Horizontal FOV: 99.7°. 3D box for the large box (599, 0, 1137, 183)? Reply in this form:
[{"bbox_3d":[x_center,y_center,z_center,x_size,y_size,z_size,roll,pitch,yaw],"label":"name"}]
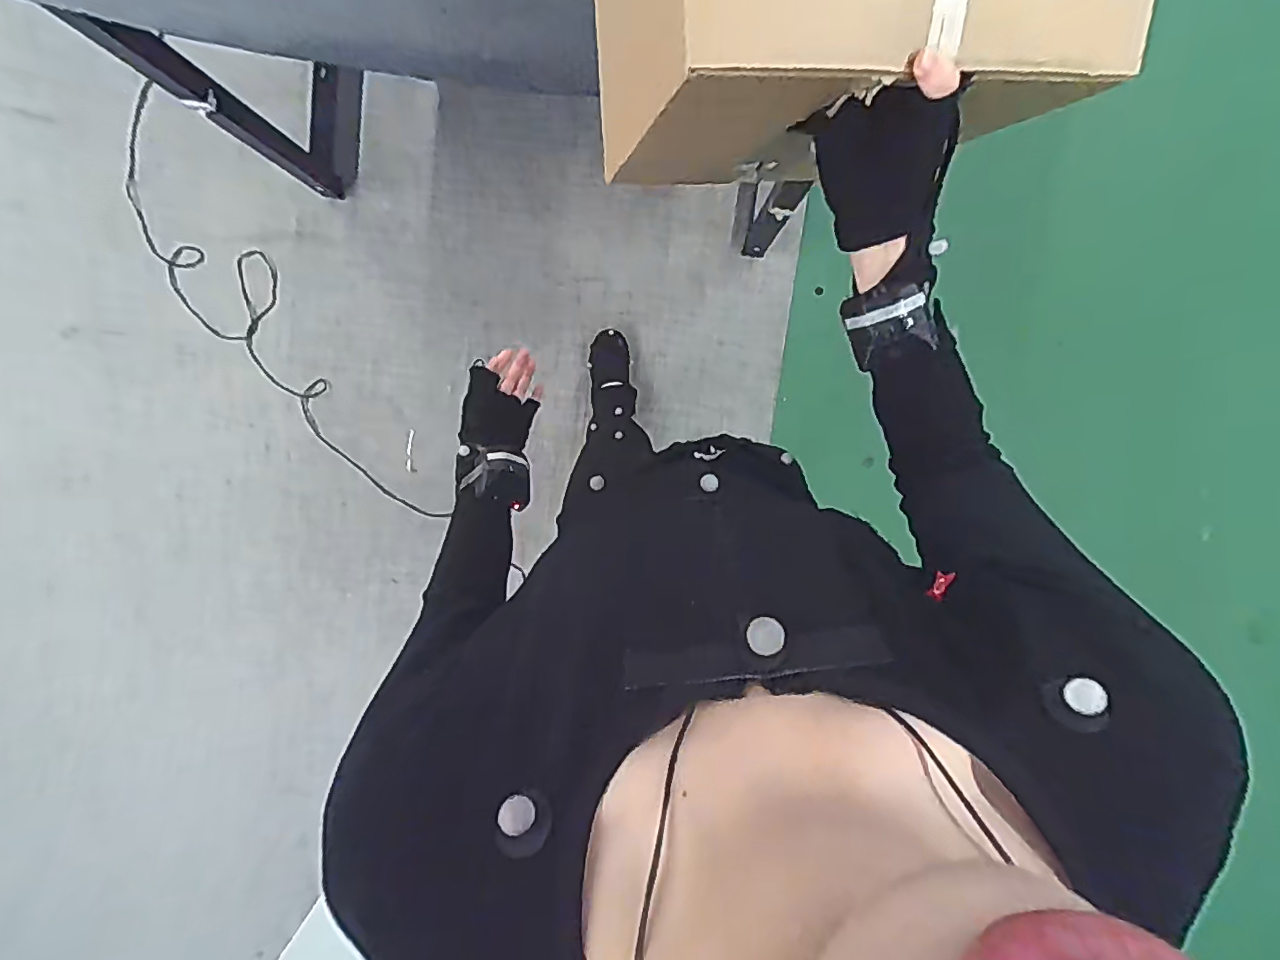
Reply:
[{"bbox_3d":[0.129,-0.487,0.412,0.320,0.320,0.408,-6,107,-10],"label":"large box"}]
